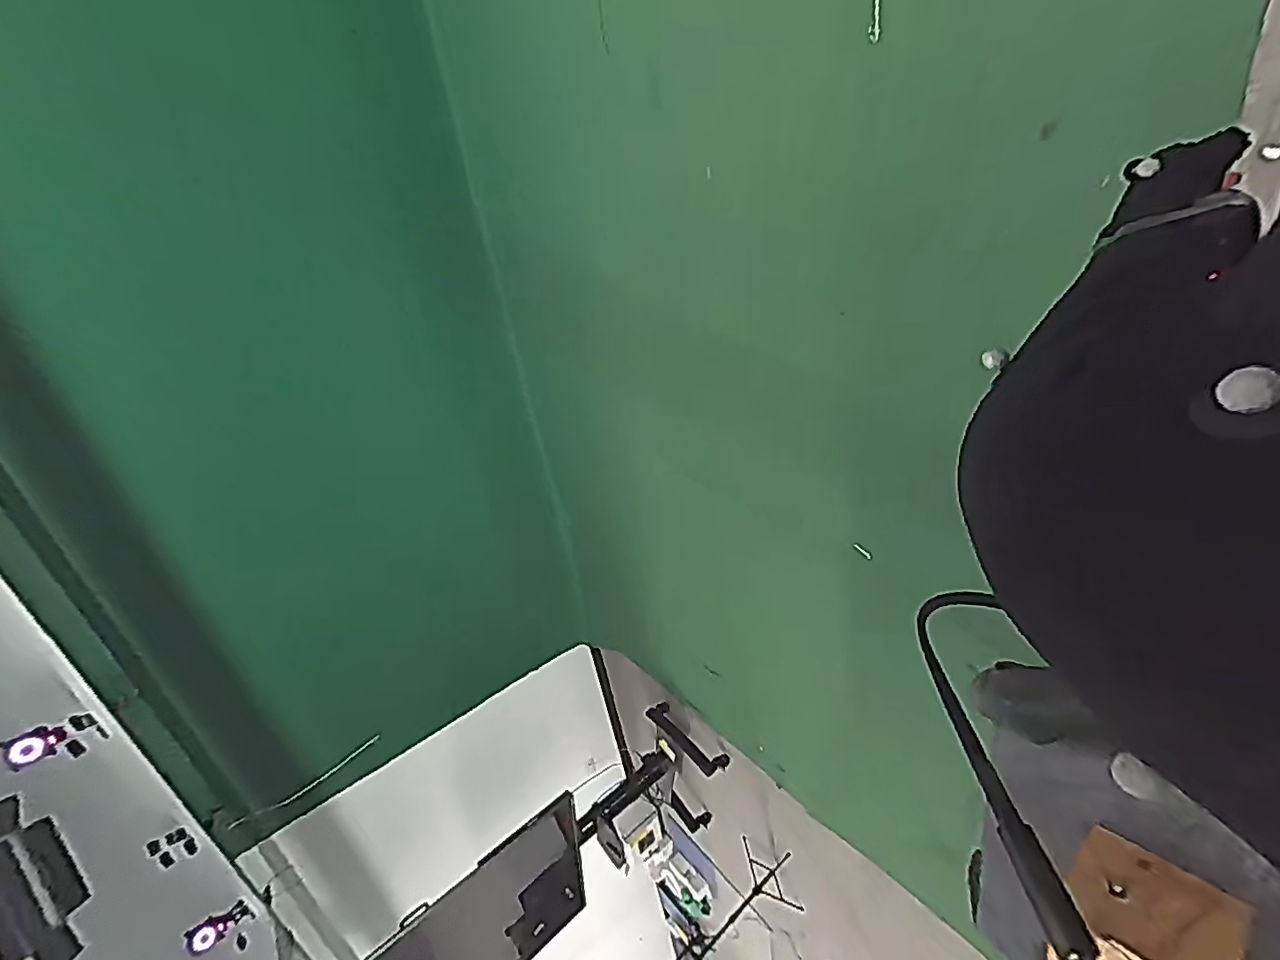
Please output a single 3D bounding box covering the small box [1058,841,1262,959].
[{"bbox_3d":[0.697,0.650,0.735,0.168,0.176,0.179,17,127,53],"label":"small box"}]
